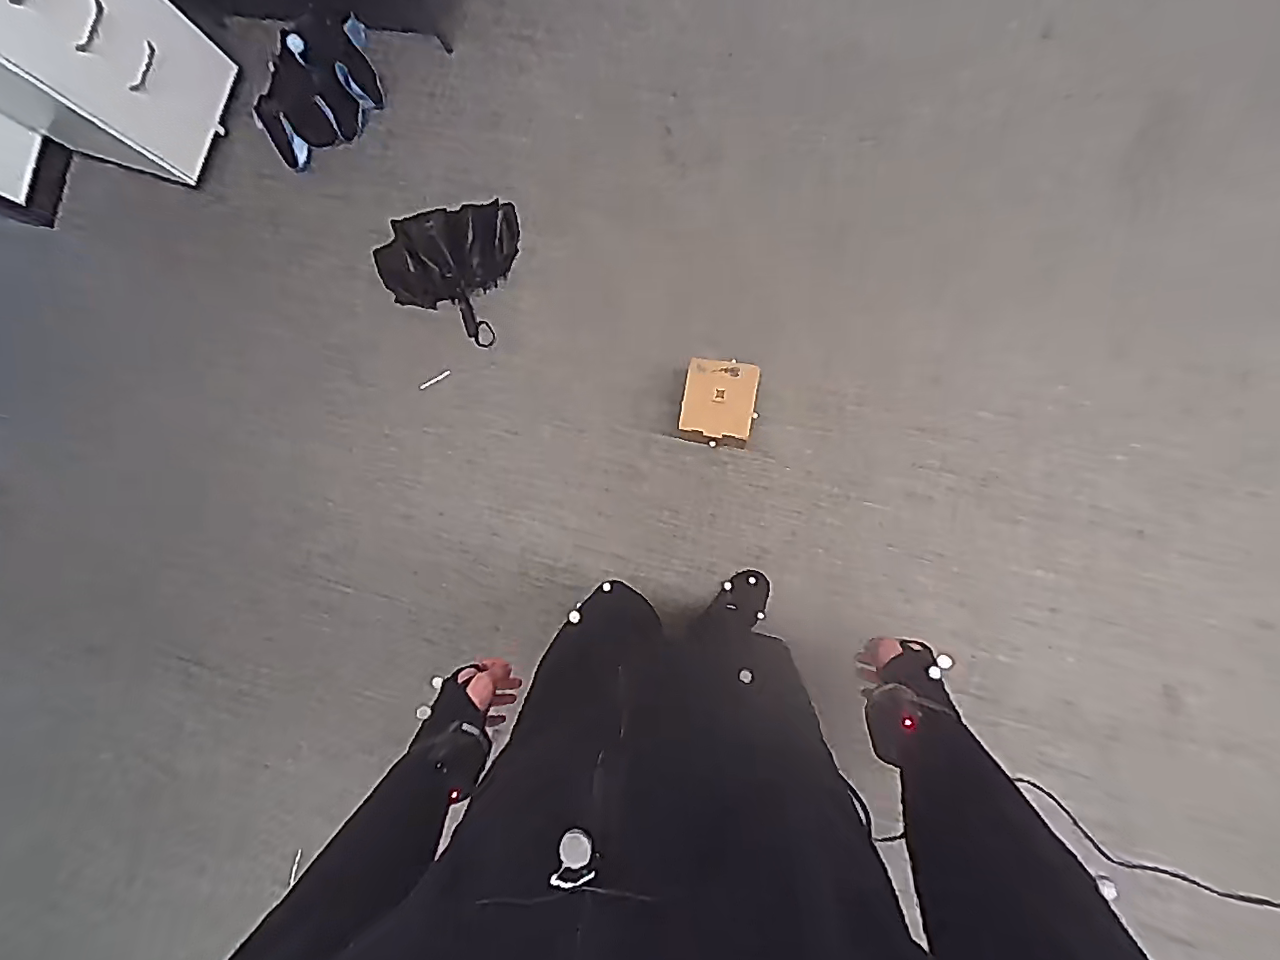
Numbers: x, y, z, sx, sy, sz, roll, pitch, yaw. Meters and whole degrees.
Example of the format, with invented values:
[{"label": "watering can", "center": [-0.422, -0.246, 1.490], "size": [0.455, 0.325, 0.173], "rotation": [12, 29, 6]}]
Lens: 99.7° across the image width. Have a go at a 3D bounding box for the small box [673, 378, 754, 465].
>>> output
[{"label": "small box", "center": [0.185, -0.138, 1.348], "size": [0.168, 0.176, 0.179], "rotation": [10, 87, 9]}]
